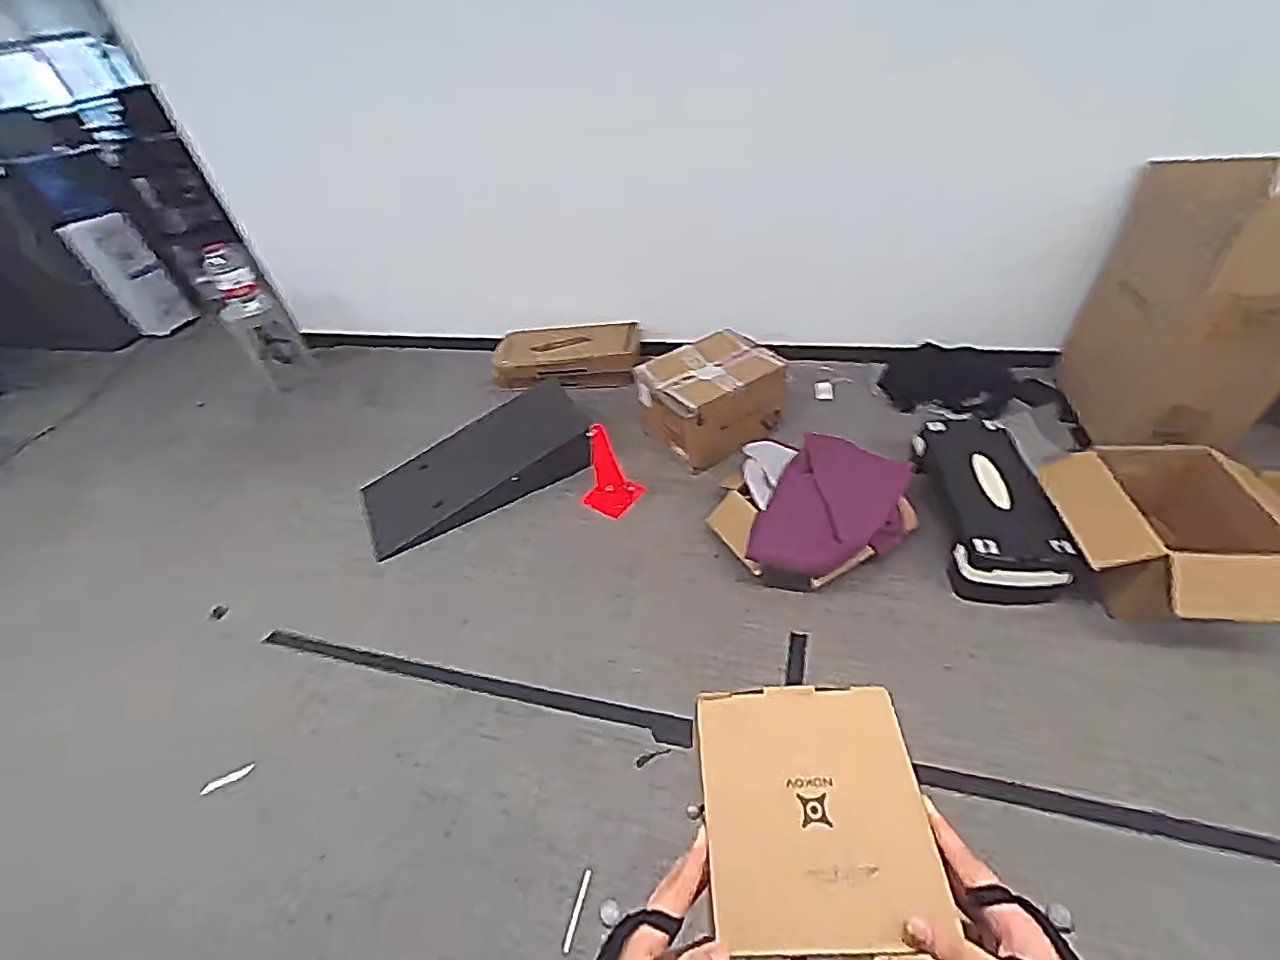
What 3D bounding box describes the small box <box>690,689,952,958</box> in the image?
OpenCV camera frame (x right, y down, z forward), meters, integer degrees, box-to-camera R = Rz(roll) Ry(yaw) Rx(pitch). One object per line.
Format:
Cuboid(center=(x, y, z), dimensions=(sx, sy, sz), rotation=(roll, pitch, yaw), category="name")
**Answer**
Cuboid(center=(0.132, 0.305, 0.479), dimensions=(0.168, 0.176, 0.179), rotation=(-3, 49, 2), category="small box")
